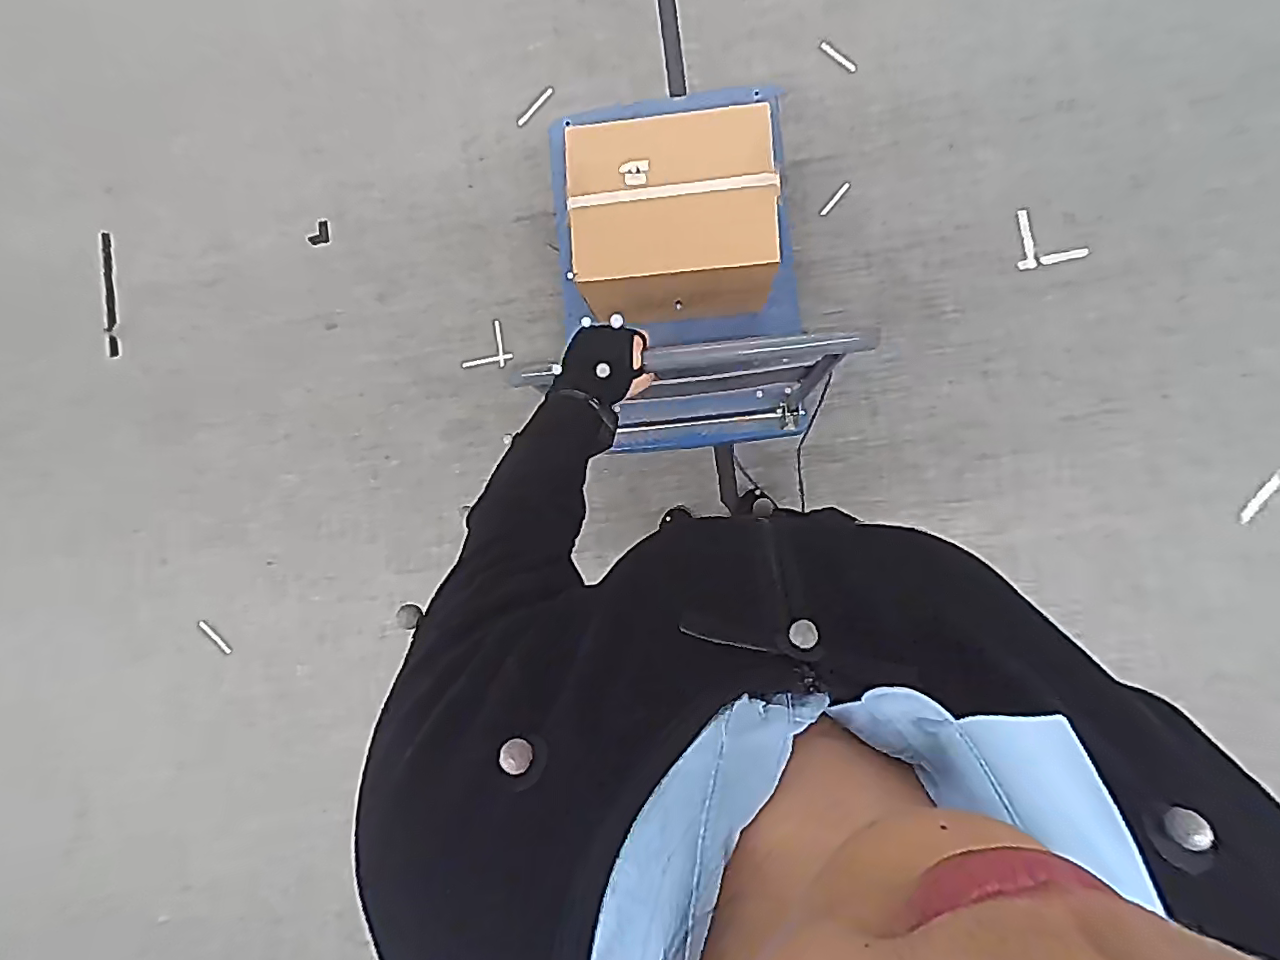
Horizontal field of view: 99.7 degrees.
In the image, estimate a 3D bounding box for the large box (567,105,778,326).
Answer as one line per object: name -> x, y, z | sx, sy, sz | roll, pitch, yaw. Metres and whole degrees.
large box -> 0.078, -0.557, 1.213 | 0.408, 0.320, 0.320 | -4, 88, 7
